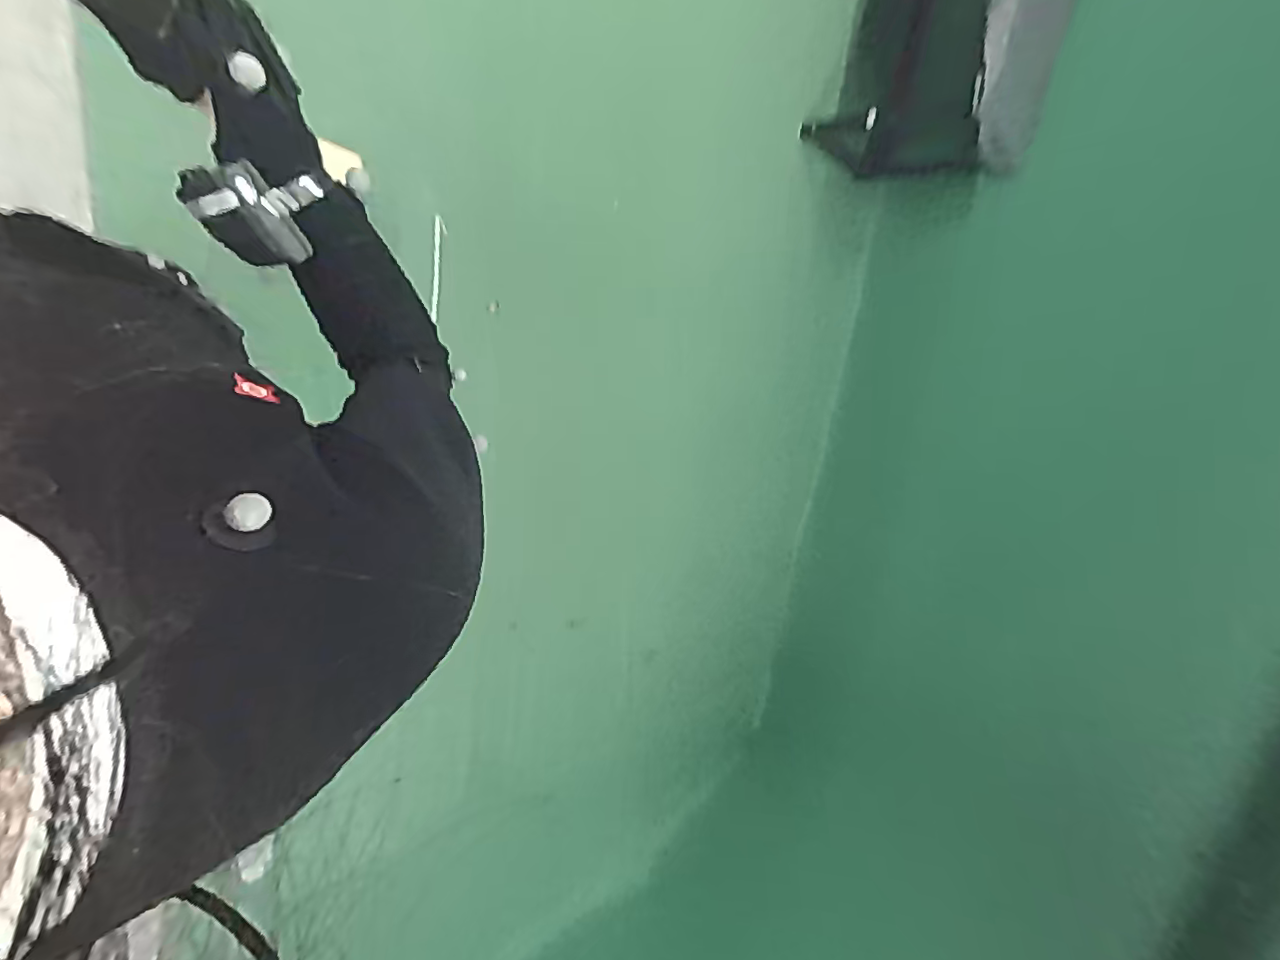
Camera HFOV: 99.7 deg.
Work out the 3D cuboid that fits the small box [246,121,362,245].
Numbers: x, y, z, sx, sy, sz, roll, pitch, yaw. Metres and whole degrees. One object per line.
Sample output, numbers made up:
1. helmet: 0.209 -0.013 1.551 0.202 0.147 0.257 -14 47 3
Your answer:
1. small box: -0.714 -0.615 1.144 0.168 0.176 0.179 3 103 -47
